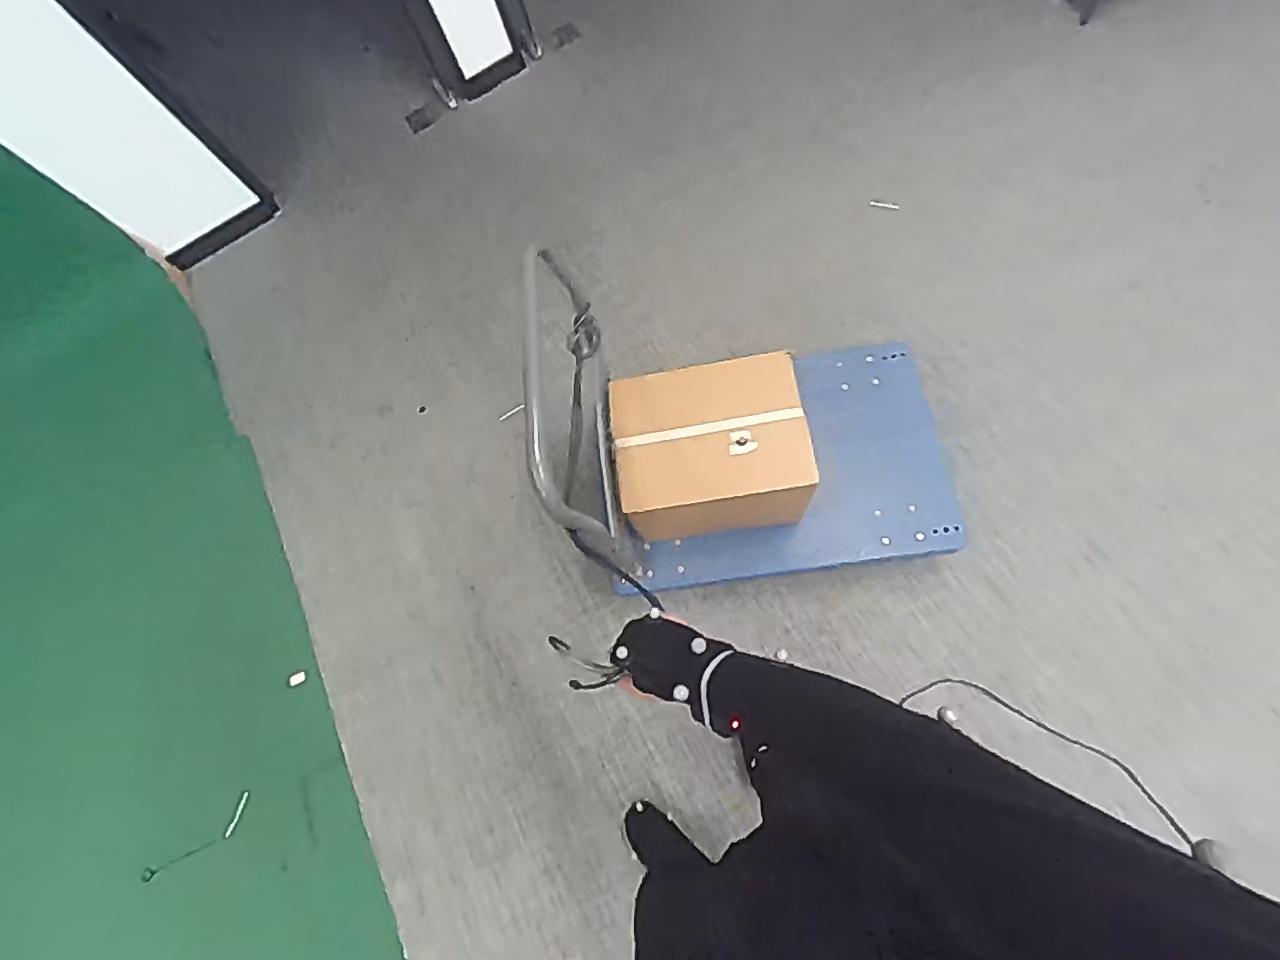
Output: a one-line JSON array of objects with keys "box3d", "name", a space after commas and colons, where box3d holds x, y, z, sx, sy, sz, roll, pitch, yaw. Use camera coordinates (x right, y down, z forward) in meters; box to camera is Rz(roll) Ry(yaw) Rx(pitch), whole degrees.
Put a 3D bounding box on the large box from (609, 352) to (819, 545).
[{"box3d": [0.163, -0.053, 1.276, 0.408, 0.320, 0.320, -10, 71, 6], "name": "large box"}]
